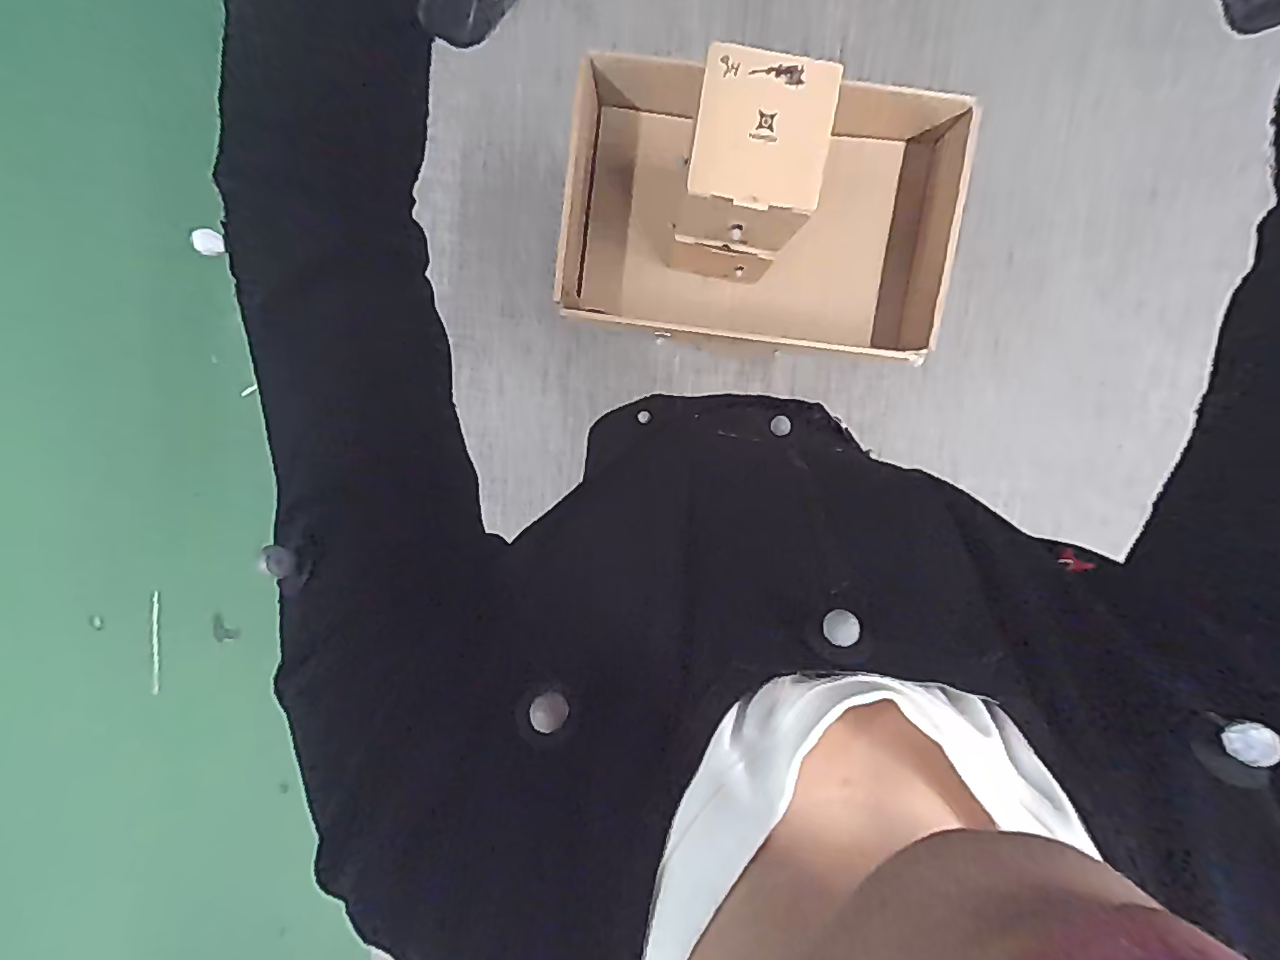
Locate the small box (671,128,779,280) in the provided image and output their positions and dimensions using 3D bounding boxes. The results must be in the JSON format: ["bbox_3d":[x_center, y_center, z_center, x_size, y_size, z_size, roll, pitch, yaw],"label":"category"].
[{"bbox_3d":[0.147,-0.451,0.905,0.168,0.176,0.179,10,95,-2],"label":"small box"}]

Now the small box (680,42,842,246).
[{"bbox_3d":[0.150,-0.439,0.741,0.168,0.176,0.179,9,98,-2],"label":"small box"}]
